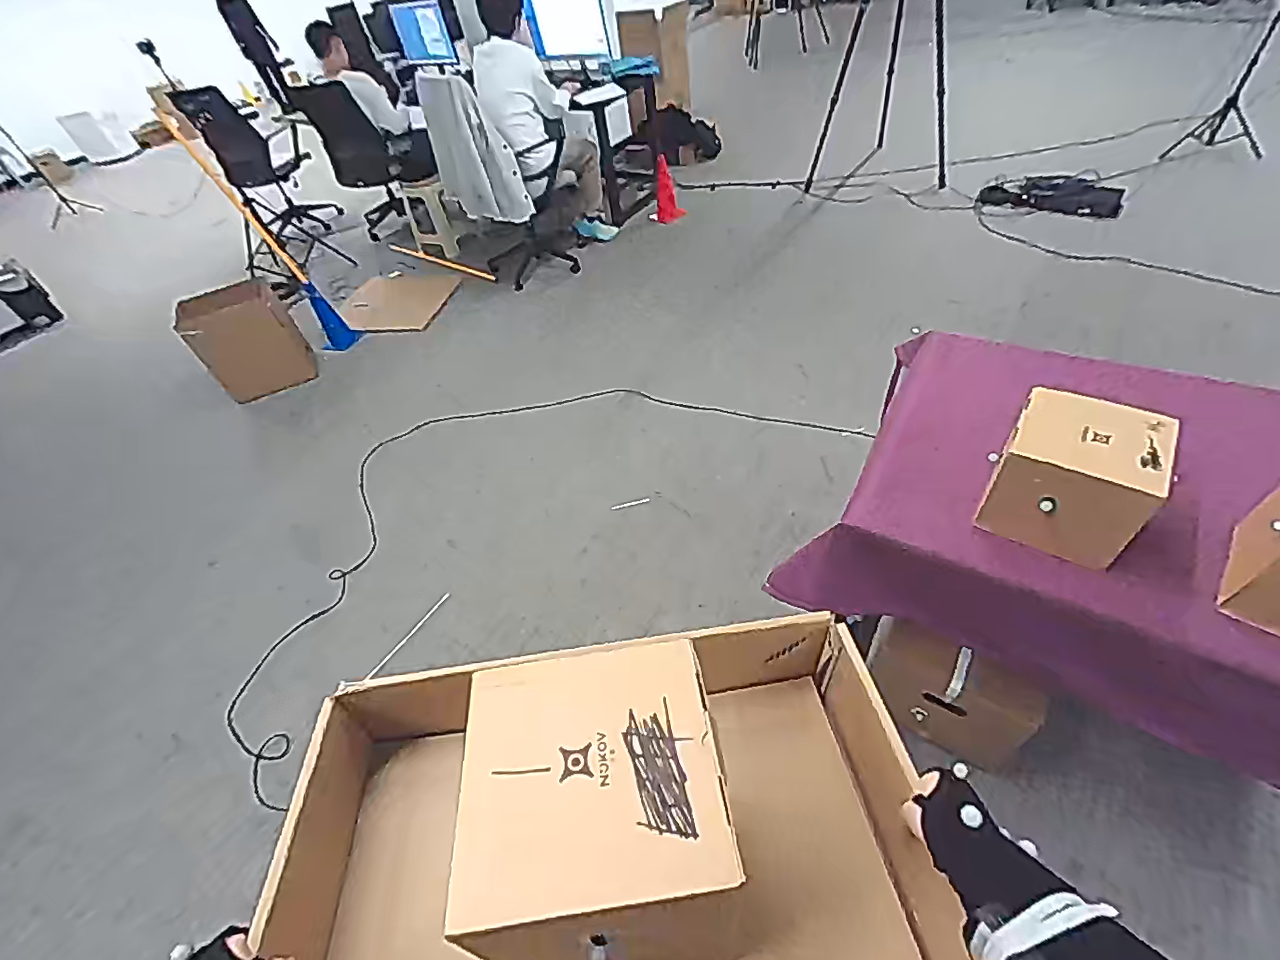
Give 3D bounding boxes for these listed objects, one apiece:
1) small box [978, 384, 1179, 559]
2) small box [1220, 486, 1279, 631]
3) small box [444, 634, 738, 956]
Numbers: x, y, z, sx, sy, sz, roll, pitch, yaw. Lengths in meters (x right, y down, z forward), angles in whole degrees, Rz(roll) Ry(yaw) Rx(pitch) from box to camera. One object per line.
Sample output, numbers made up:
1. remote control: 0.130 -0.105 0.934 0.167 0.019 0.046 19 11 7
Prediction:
1. small box: 0.632 -0.011 0.798 0.179 0.176 0.168 24 57 30
2. small box: 0.873 0.093 0.659 0.168 0.176 0.179 29 60 32
3. small box: -0.030 0.247 0.426 0.179 0.176 0.168 -8 42 -1
